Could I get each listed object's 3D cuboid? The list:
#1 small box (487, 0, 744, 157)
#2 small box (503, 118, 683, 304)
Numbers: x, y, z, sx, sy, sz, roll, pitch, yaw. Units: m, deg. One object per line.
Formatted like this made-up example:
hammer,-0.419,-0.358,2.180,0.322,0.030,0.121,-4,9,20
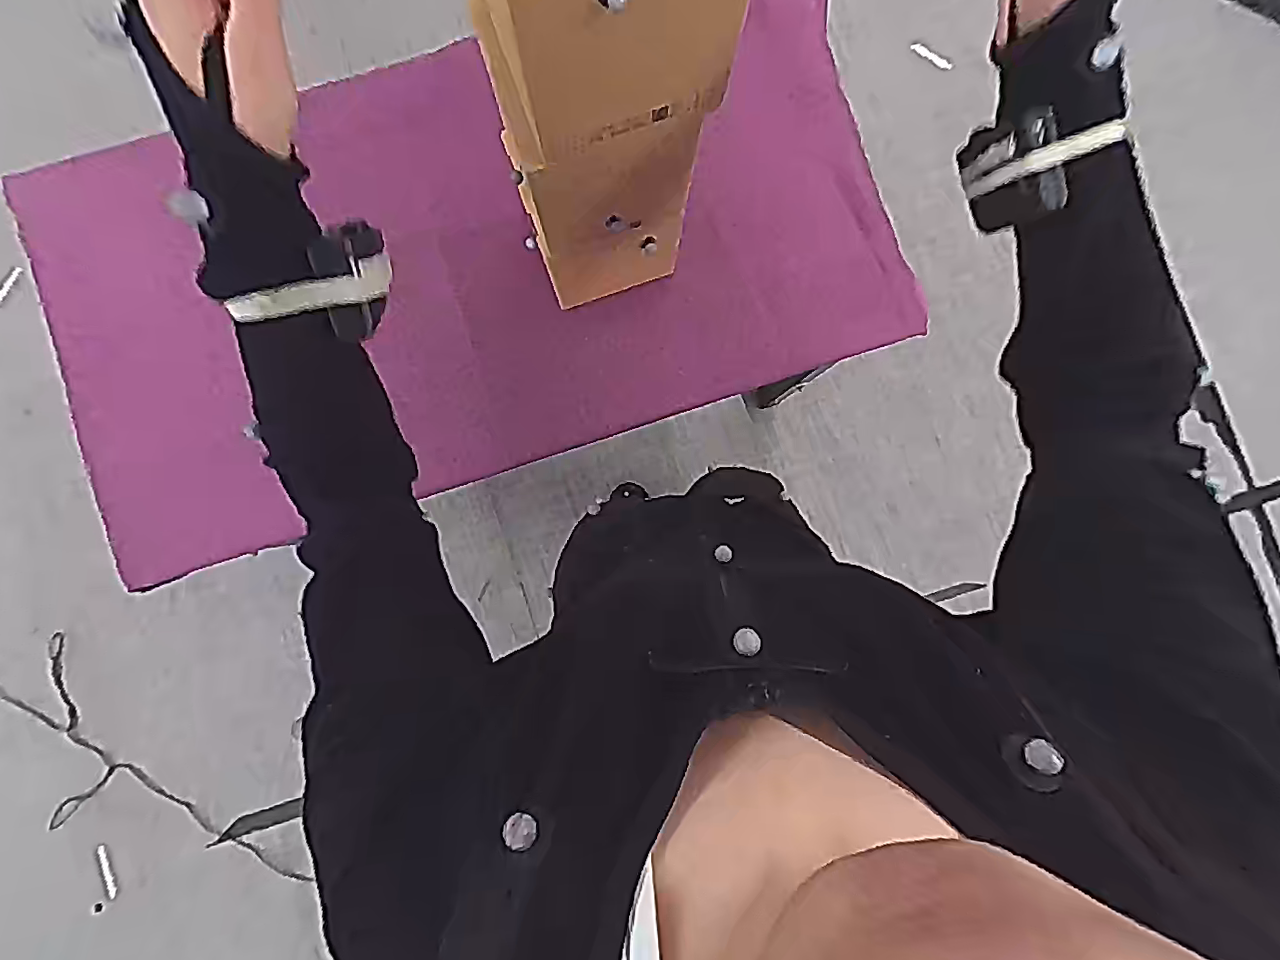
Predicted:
small box,-0.031,-0.383,0.389,0.168,0.176,0.179,-20,87,-2
small box,-0.057,-0.360,0.715,0.179,0.176,0.168,-19,87,-1
